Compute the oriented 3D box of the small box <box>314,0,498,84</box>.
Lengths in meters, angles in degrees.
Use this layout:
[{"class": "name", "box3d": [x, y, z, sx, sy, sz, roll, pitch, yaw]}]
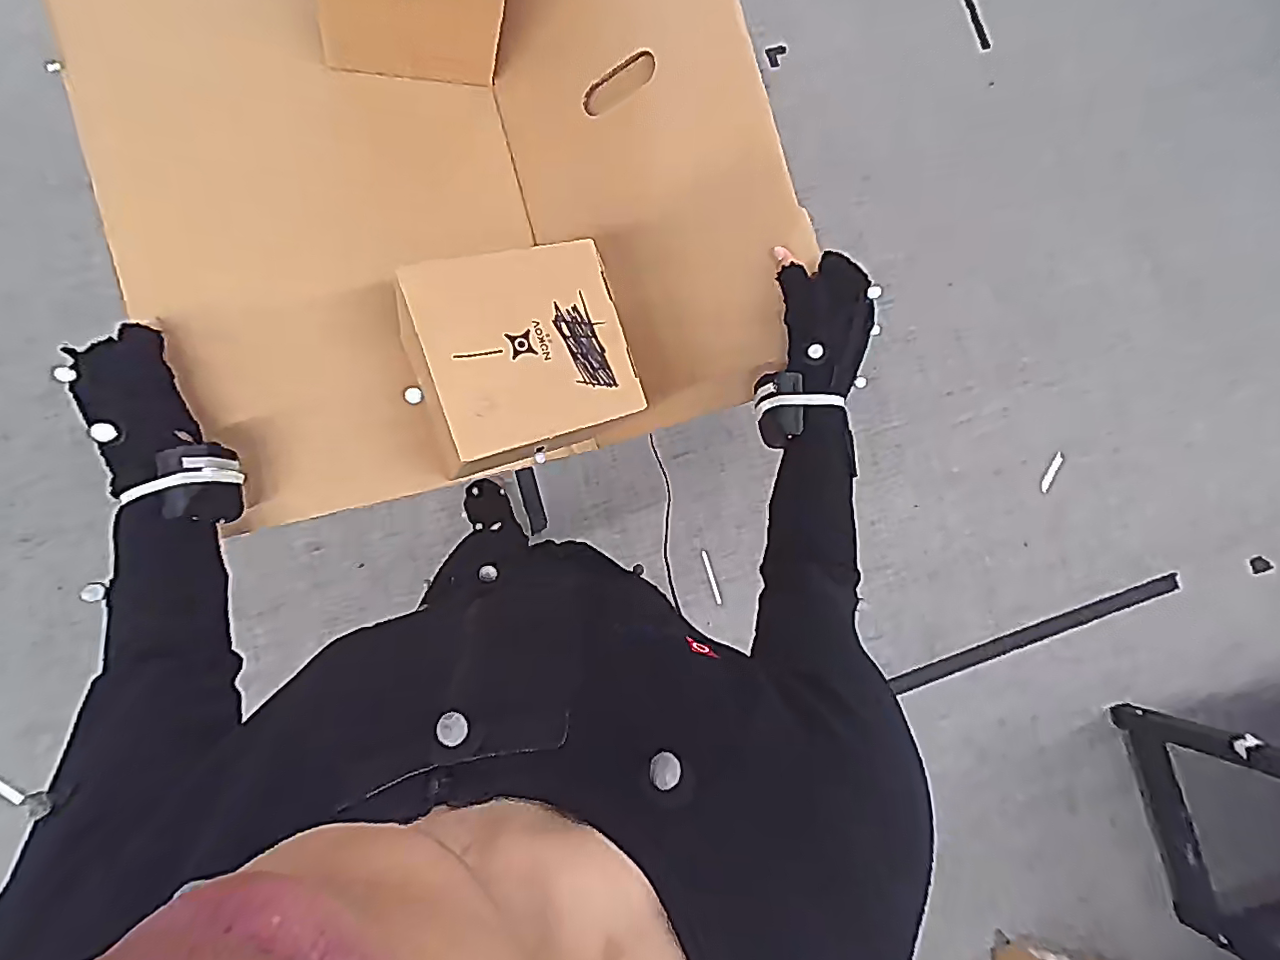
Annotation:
[{"class": "small box", "box3d": [-0.242, -0.542, 0.543, 0.179, 0.176, 0.168, -10, 88, -24]}]
